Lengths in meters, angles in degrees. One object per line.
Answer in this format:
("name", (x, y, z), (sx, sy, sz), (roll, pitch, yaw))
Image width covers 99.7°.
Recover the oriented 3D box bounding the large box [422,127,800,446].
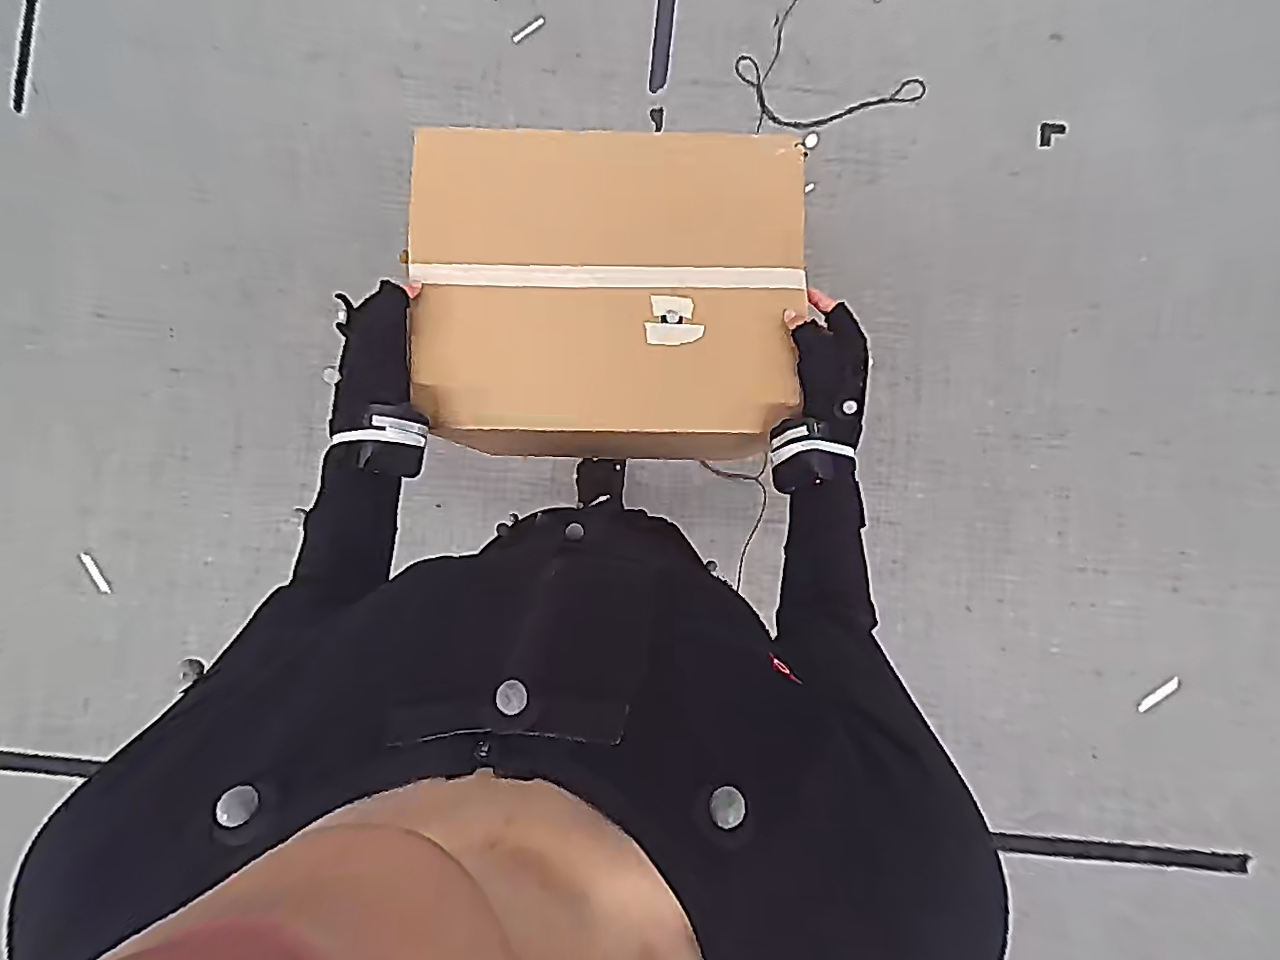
("large box", (-0.035, -0.216, 0.719), (0.408, 0.320, 0.320), (1, 88, -1))
